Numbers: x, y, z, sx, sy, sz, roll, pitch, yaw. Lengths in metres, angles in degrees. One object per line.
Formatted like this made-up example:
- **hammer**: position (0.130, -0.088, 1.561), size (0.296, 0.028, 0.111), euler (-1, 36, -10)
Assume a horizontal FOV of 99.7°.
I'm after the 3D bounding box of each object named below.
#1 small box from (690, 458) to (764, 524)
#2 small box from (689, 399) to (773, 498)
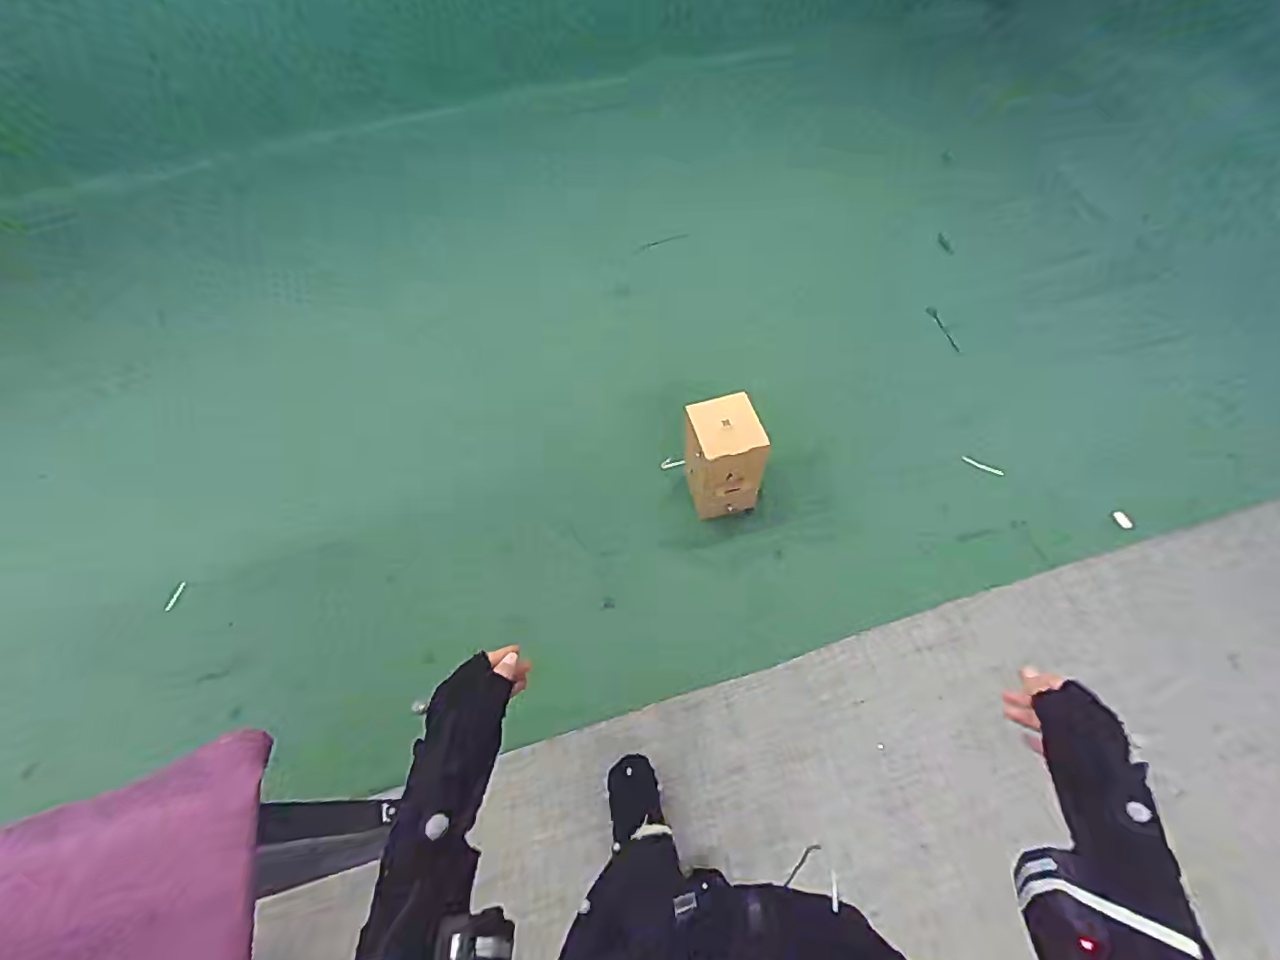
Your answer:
- **small box**: position (0.244, 0.003, 1.568), size (0.168, 0.176, 0.179), euler (-14, 59, -4)
- **small box**: position (0.231, -0.081, 1.428), size (0.168, 0.176, 0.179), euler (-16, 60, -5)
